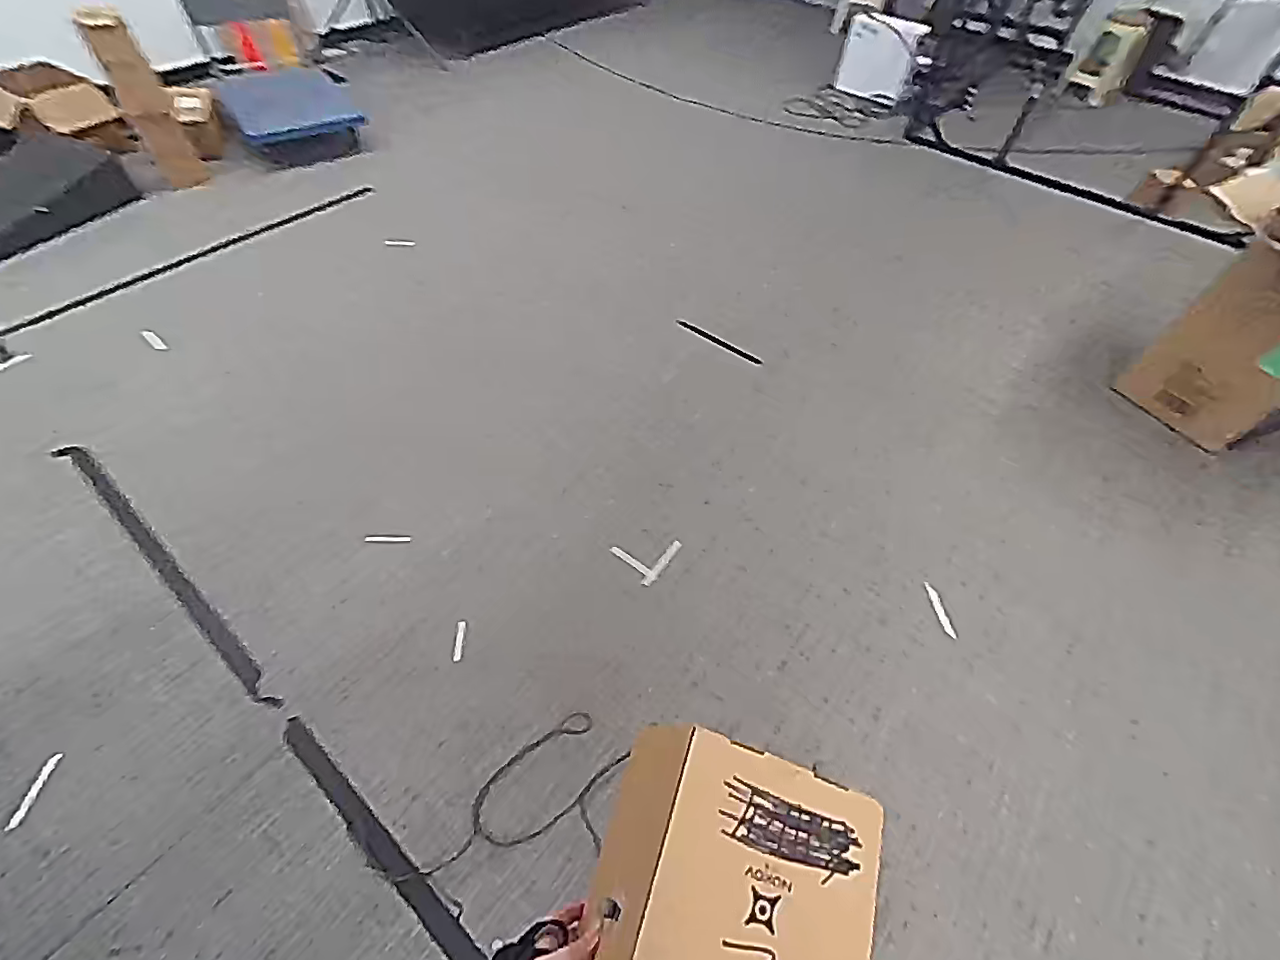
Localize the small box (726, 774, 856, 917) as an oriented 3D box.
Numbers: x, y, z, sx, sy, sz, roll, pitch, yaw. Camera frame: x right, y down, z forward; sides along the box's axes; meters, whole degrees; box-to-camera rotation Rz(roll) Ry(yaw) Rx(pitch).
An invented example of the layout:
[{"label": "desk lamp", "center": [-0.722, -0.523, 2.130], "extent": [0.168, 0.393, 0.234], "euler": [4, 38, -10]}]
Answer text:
[{"label": "small box", "center": [0.297, 0.746, 1.105], "extent": [0.179, 0.176, 0.168], "euler": [40, 60, 24]}]
